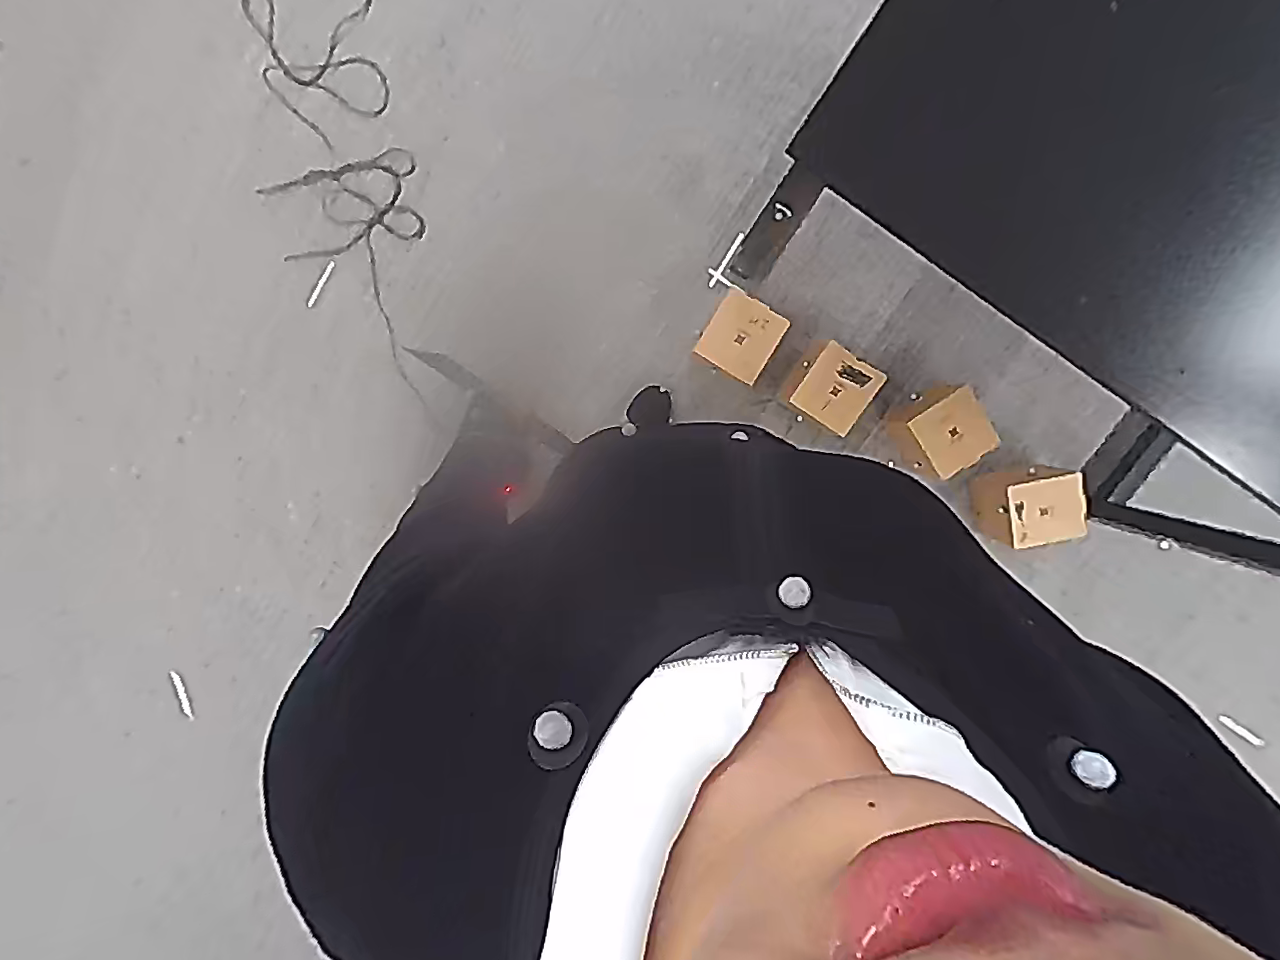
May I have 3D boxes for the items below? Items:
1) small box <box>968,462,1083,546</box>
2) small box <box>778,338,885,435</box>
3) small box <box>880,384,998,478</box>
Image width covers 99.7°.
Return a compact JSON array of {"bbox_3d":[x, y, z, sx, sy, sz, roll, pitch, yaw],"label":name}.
[{"bbox_3d":[0.992,0.056,1.401,0.179,0.176,0.168,-12,99,4],"label":"small box"},{"bbox_3d":[0.472,-0.238,1.368,0.168,0.176,0.179,33,101,-4],"label":"small box"},{"bbox_3d":[0.754,-0.130,1.379,0.168,0.176,0.179,-35,96,6],"label":"small box"}]
